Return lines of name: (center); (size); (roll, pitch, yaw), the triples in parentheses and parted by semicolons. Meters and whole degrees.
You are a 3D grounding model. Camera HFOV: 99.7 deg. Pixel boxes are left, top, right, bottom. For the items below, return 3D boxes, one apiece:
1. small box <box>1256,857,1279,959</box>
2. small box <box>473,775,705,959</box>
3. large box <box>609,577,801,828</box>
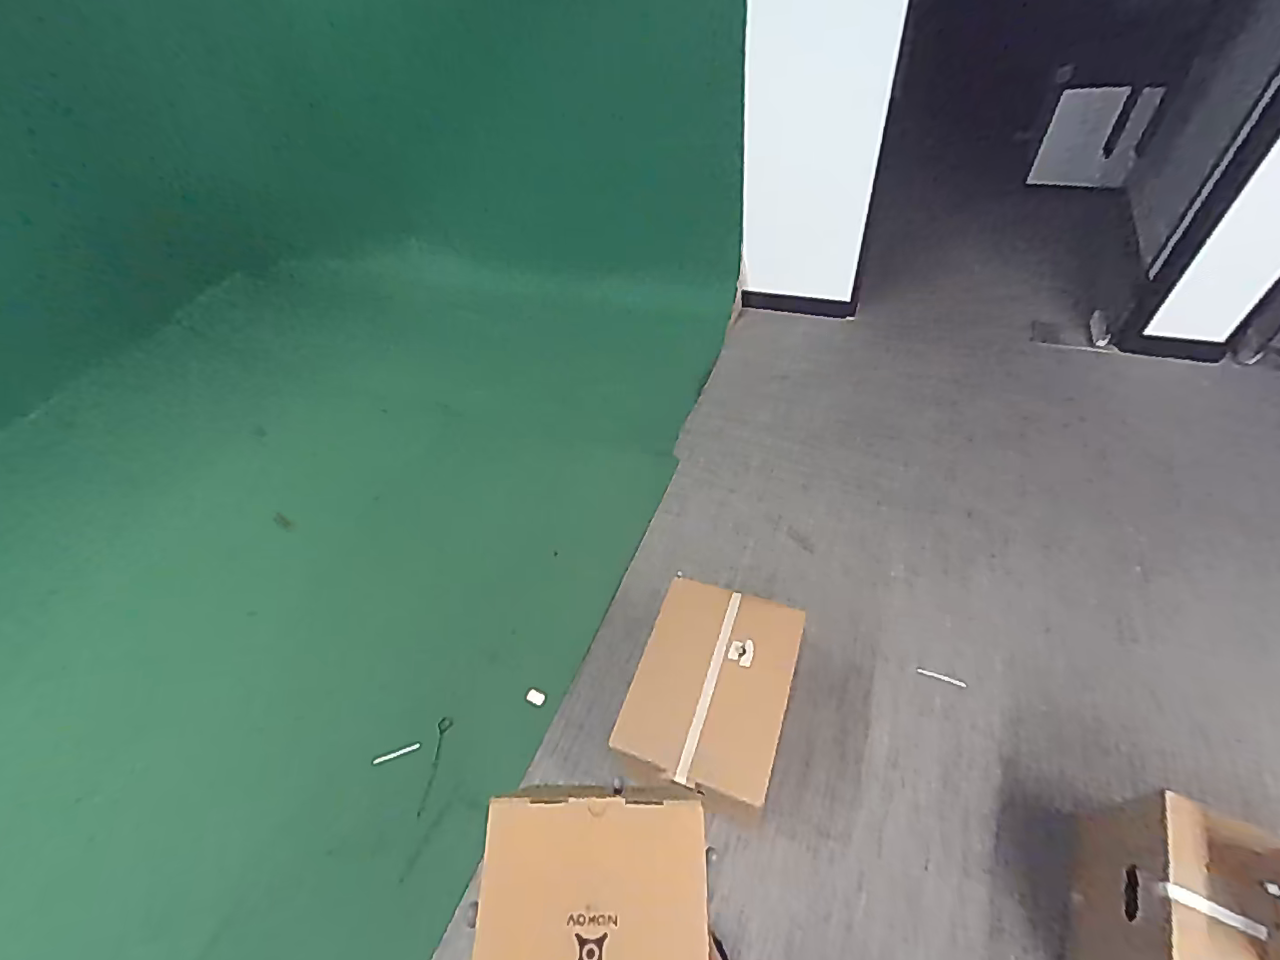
small box: (0.981, 0.614, 0.705); (0.179, 0.176, 0.168); (22, 55, 25)
small box: (-0.034, 0.354, 0.455); (0.168, 0.176, 0.179); (1, 63, 0)
large box: (0.166, 0.503, 1.243); (0.320, 0.320, 0.408); (13, 54, 20)
